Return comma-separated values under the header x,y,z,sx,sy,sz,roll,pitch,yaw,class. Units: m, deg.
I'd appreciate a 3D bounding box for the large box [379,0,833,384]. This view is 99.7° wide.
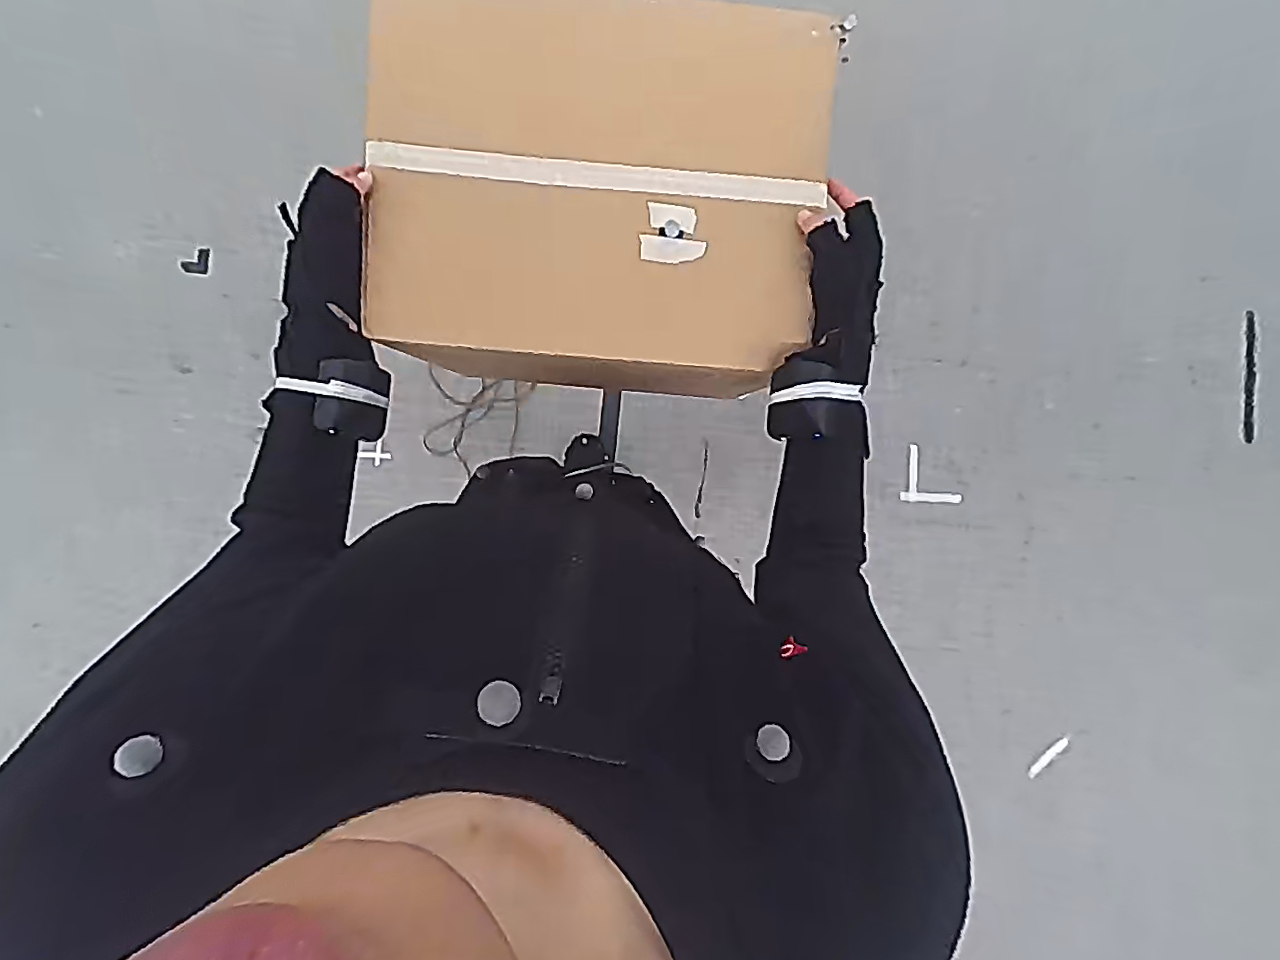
x,y,z,sx,sy,sz,roll,pitch,yaw,class
-0.041,-0.294,0.639,0.408,0.320,0.320,4,96,-3,large box
